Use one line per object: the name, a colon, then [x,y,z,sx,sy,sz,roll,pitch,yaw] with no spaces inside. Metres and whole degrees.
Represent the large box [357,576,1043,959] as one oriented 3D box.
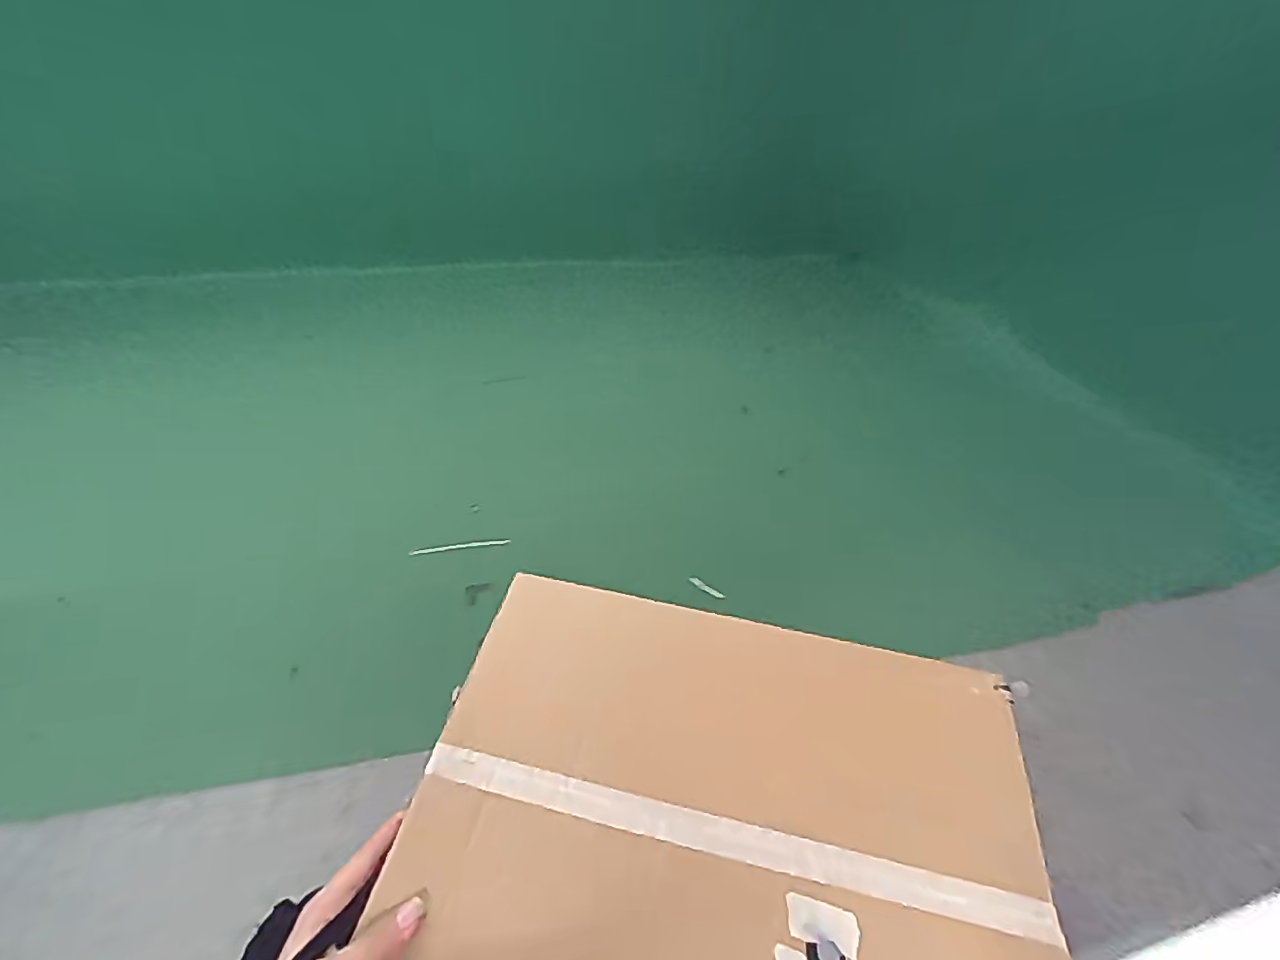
large box: [0.047,0.325,0.478,0.408,0.320,0.320,10,50,7]
